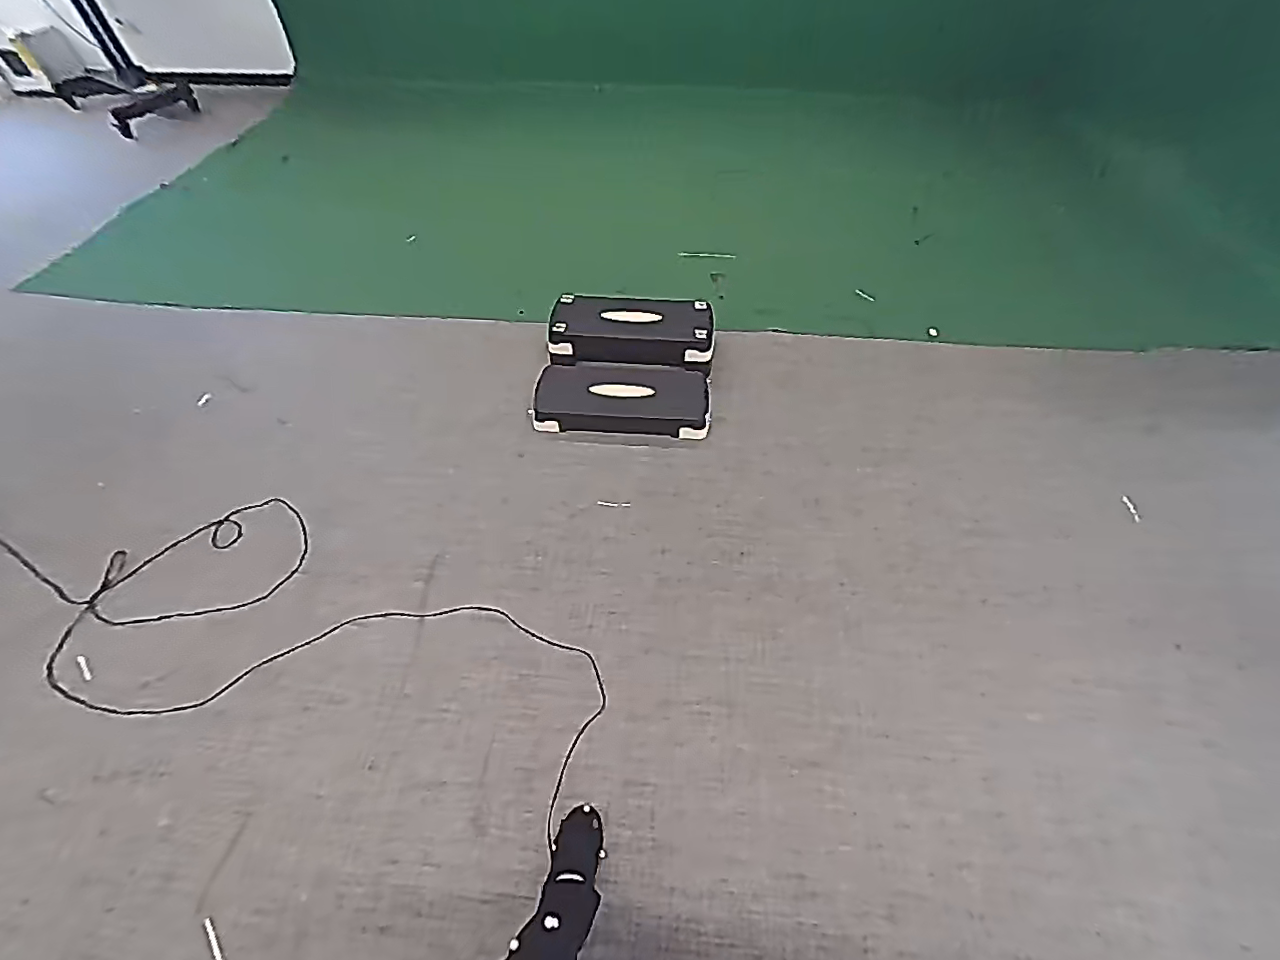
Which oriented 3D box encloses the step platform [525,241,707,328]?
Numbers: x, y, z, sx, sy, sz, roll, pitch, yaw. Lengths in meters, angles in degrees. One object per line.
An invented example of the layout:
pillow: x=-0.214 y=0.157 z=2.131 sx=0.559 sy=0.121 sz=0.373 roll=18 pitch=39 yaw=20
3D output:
step platform: x=-0.087 y=-0.762 z=2.112 sx=0.684 sy=0.204 sz=0.286 roll=3 pitch=52 yaw=3
